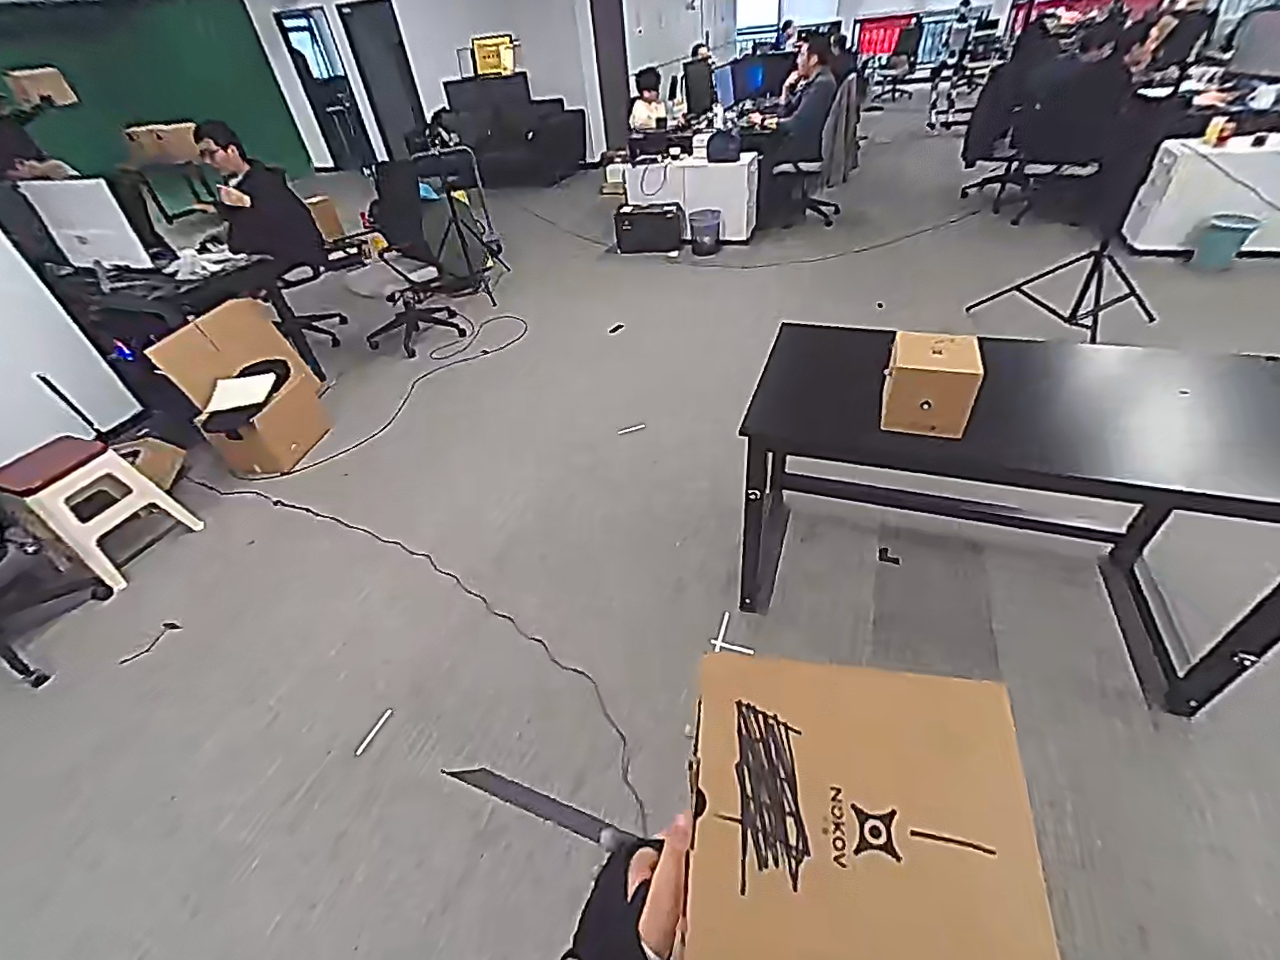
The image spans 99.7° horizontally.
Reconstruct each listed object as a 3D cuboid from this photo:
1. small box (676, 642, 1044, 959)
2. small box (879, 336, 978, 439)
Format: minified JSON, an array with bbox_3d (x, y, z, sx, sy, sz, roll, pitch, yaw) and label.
[{"bbox_3d":[0.122,0.221,0.364,0.179,0.176,0.168,4,60,8],"label":"small box"},{"bbox_3d":[0.655,-0.213,1.242,0.168,0.176,0.179,10,43,18],"label":"small box"}]
